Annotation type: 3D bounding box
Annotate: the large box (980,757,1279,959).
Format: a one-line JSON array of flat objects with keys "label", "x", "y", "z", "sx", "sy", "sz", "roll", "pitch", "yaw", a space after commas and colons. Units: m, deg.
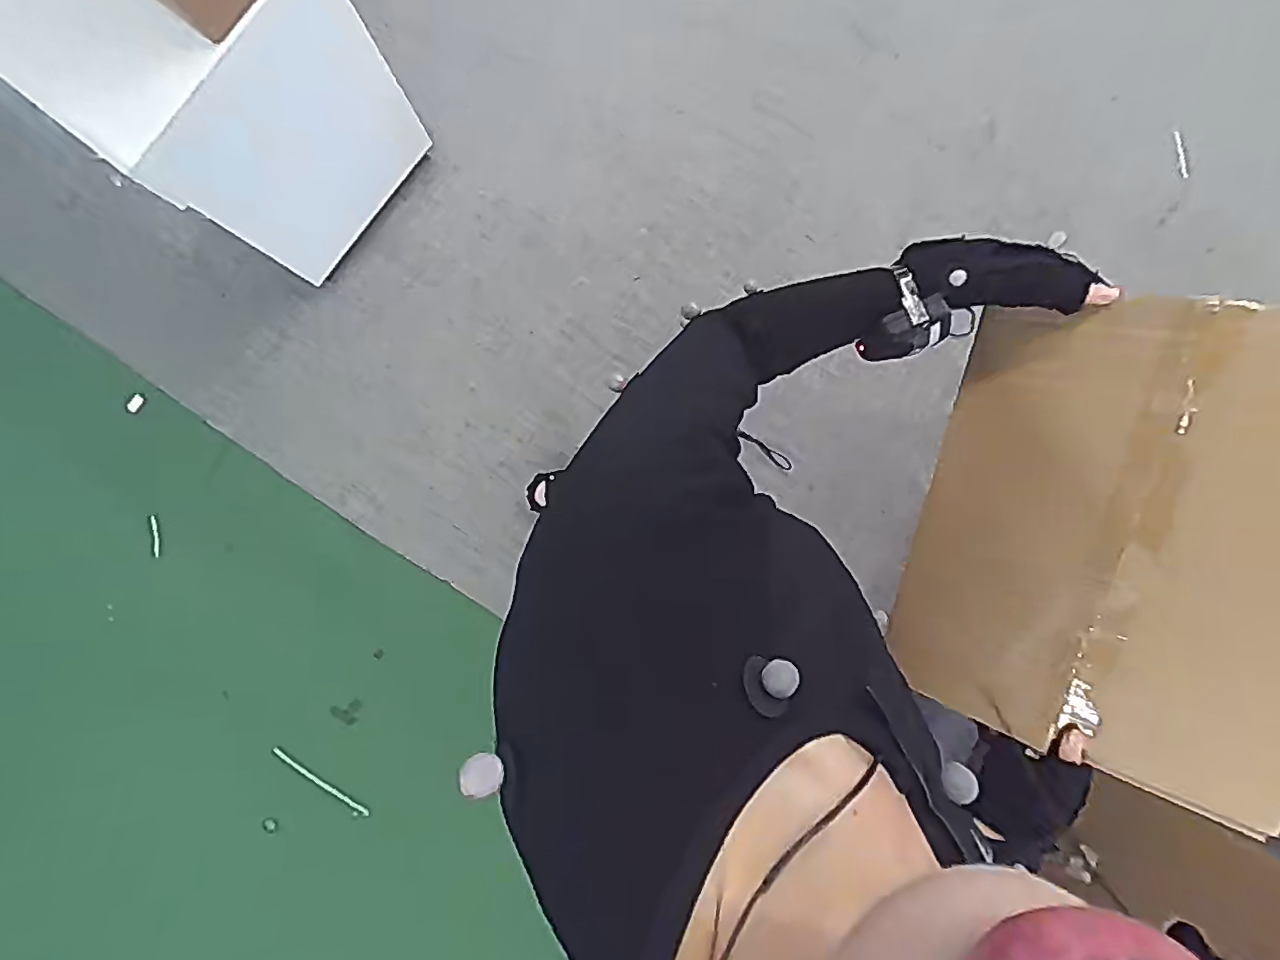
[{"label": "large box", "x": 0.730, "y": 0.624, "z": 0.637, "sx": 0.408, "sy": 0.320, "sz": 0.320, "roll": 34, "pitch": 89, "yaw": -2}]
